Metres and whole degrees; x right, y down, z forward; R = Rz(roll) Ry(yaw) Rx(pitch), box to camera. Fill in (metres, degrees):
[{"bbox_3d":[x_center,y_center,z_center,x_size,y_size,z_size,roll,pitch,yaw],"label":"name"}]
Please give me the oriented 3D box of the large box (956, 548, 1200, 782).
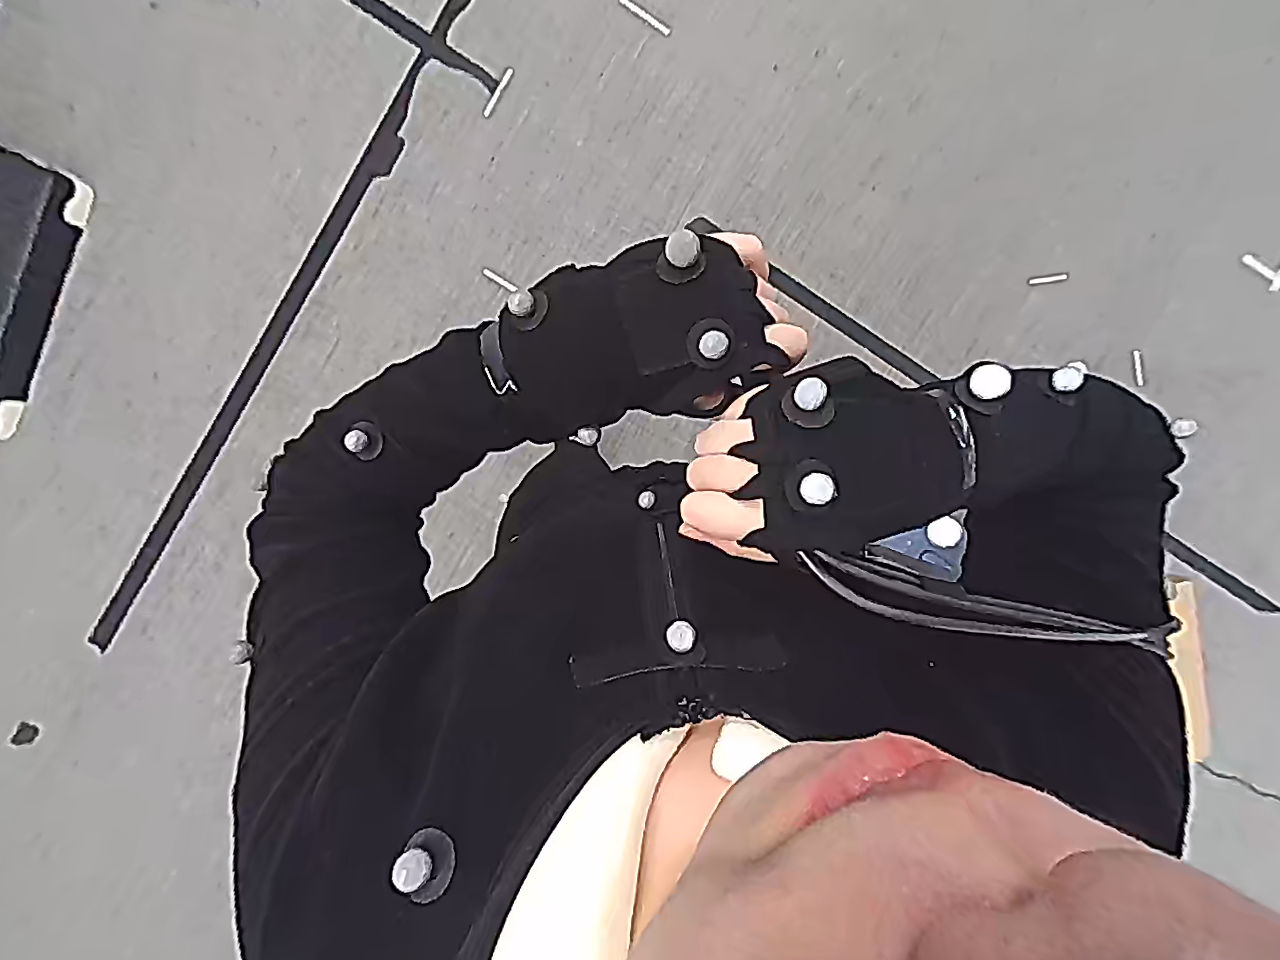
[{"bbox_3d":[1.021,0.413,1.295,0.320,0.320,0.408,-11,95,-5],"label":"large box"}]
